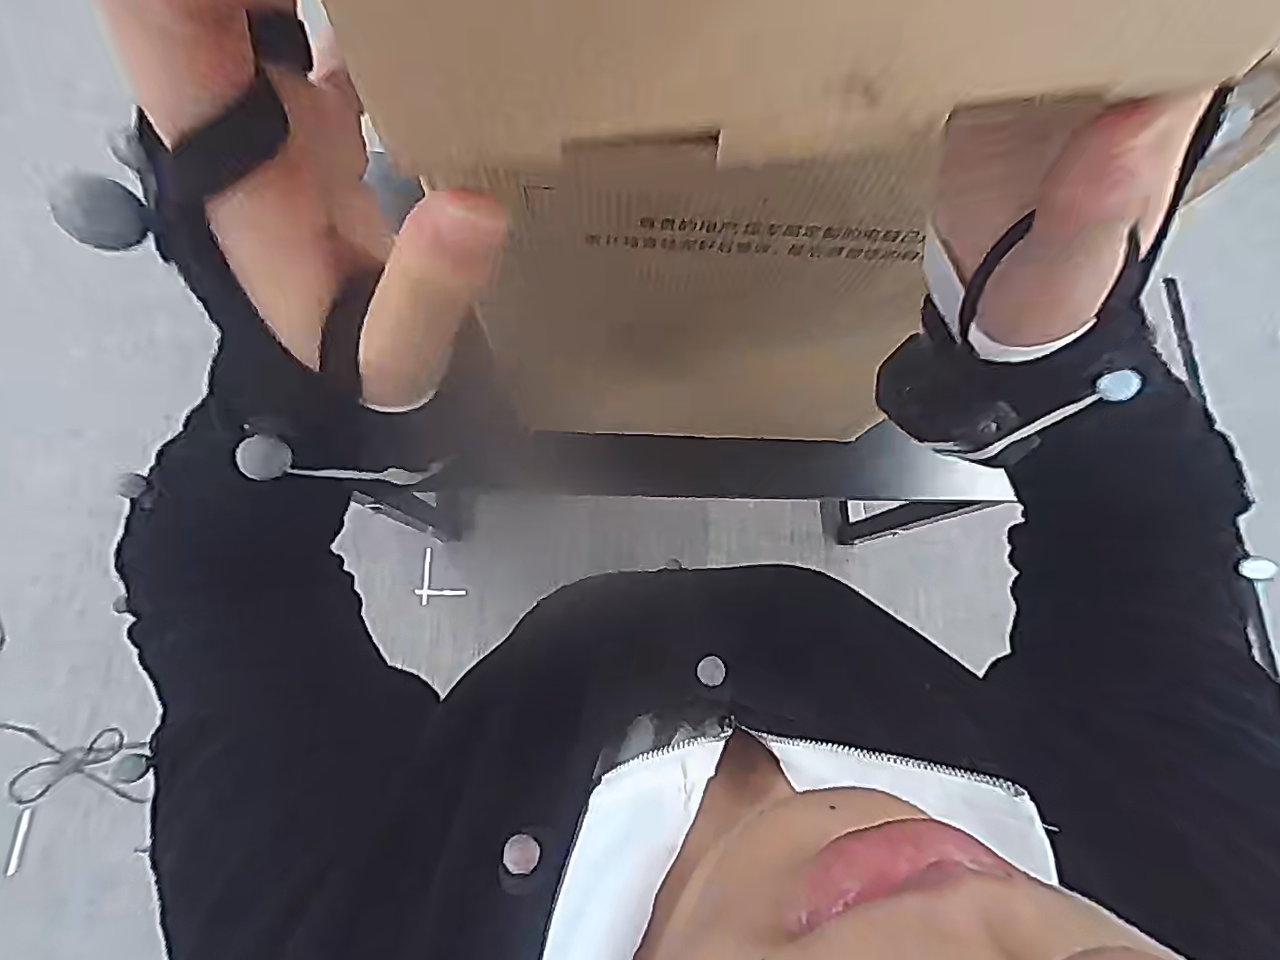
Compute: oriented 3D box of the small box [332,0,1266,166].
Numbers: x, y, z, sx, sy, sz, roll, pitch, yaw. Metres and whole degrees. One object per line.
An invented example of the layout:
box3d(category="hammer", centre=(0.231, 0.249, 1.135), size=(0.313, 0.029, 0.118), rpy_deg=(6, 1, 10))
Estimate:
box3d(category="small box", centre=(0.021, -0.183, 0.083), size=(0.168, 0.179, 0.176), rpy_deg=(-8, 54, -4))
